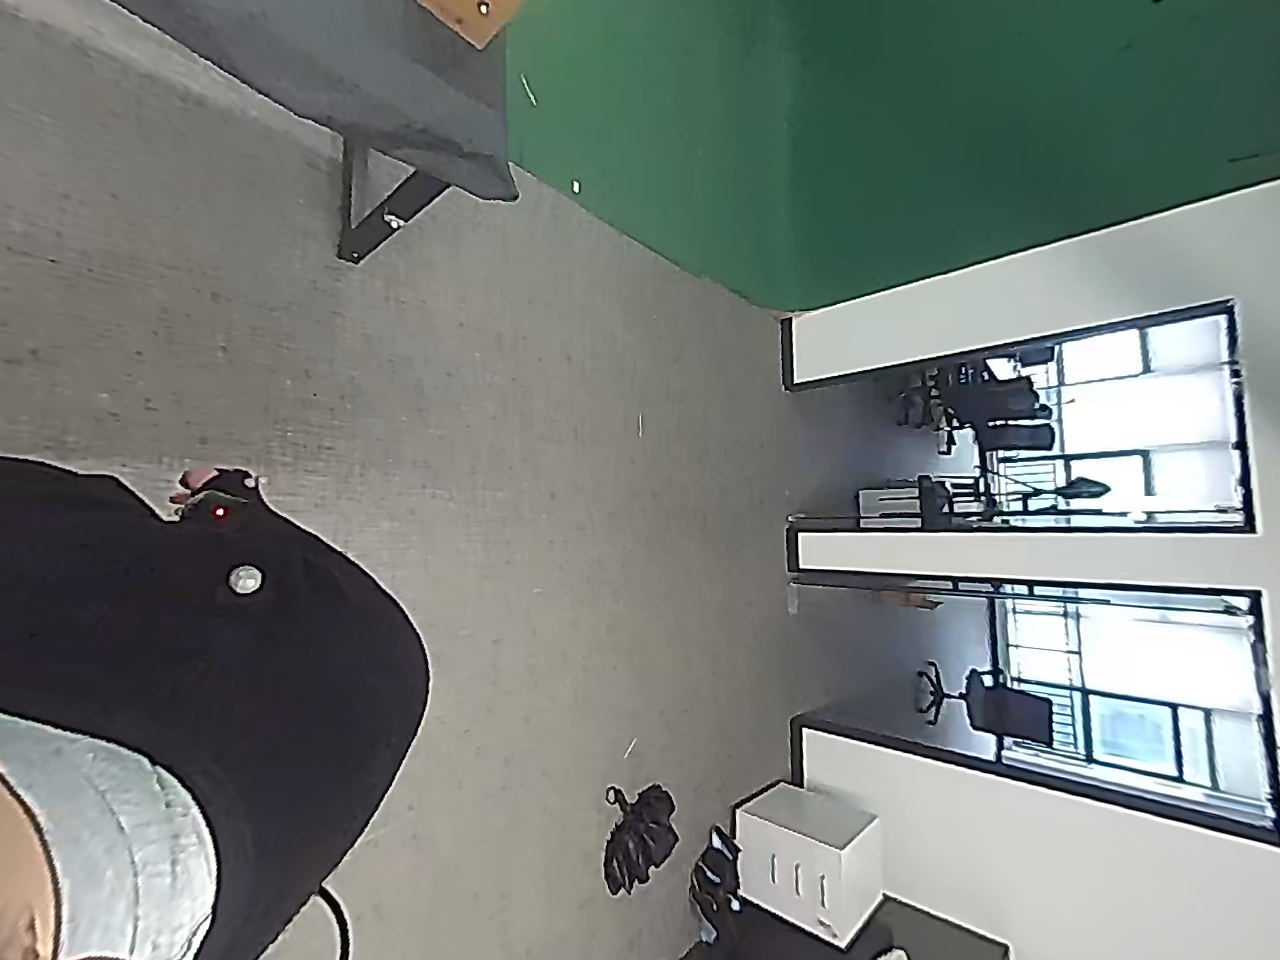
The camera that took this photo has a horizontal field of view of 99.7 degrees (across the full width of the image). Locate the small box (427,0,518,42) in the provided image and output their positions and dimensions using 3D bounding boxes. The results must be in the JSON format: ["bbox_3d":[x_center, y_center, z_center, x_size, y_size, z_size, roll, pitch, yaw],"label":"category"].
[{"bbox_3d":[-0.307,-0.951,0.965,0.168,0.176,0.179,9,78,-48],"label":"small box"}]
